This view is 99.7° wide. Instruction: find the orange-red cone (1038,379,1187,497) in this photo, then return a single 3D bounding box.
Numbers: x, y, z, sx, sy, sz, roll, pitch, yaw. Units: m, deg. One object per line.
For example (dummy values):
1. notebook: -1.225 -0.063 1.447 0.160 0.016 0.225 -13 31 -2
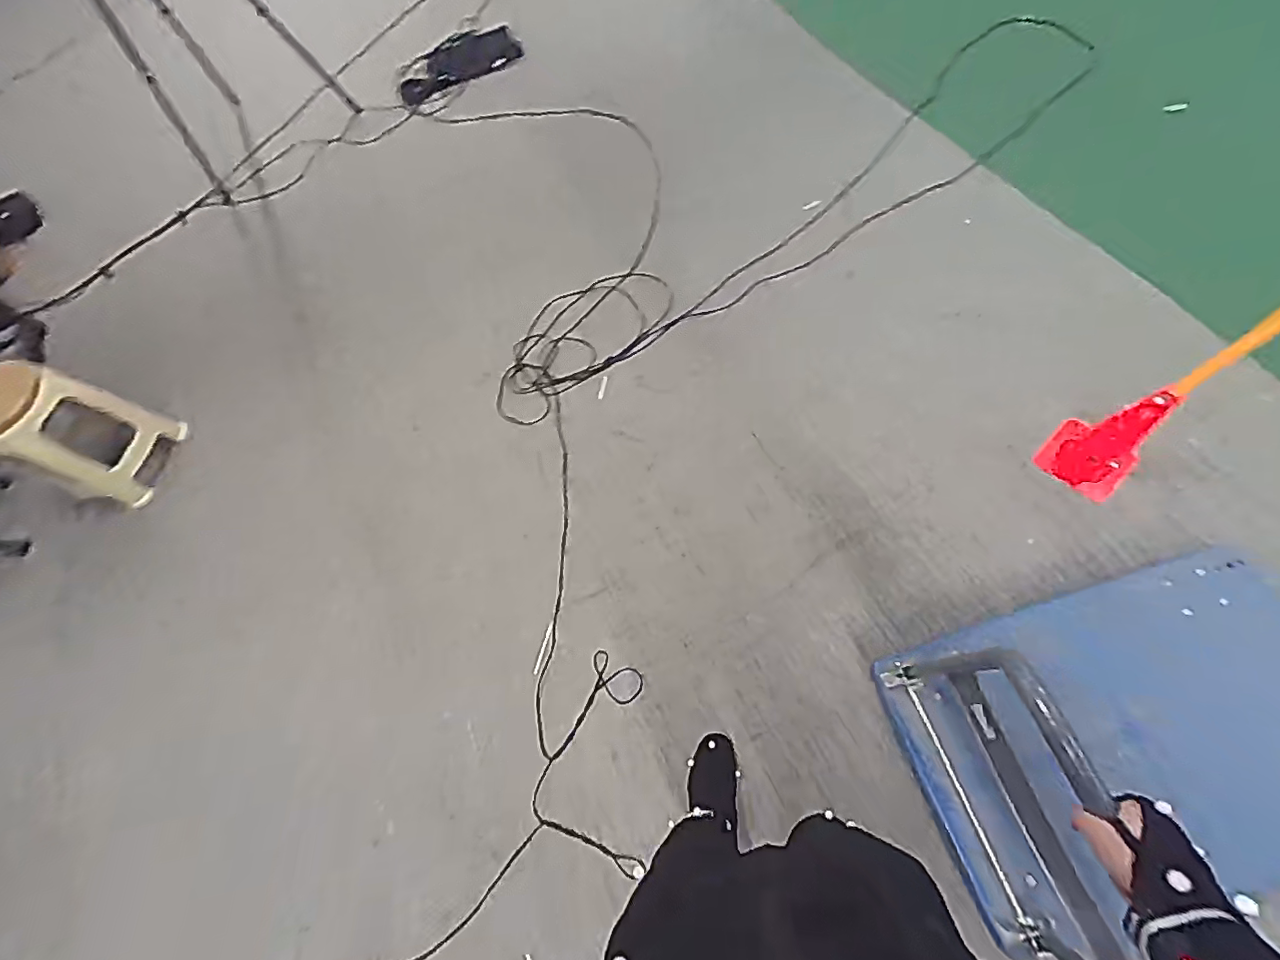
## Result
1. orange-red cone: 1.227 -0.138 1.363 0.198 0.360 0.199 -42 65 -10
